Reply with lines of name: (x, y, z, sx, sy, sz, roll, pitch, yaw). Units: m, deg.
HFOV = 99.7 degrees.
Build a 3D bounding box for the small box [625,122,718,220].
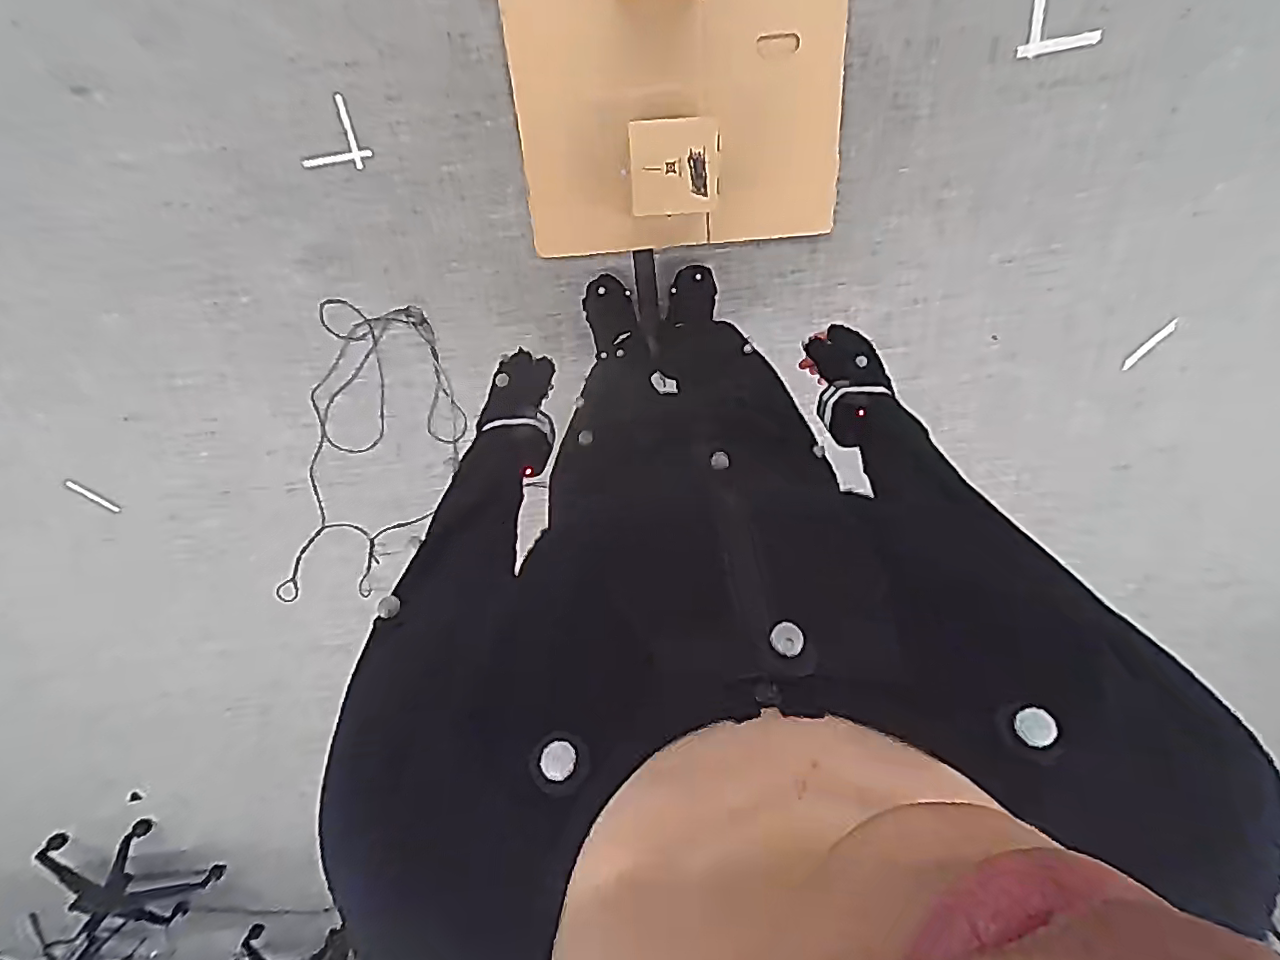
small box: (0.062, -0.643, 1.135, 0.179, 0.176, 0.168, -4, 116, -1)
